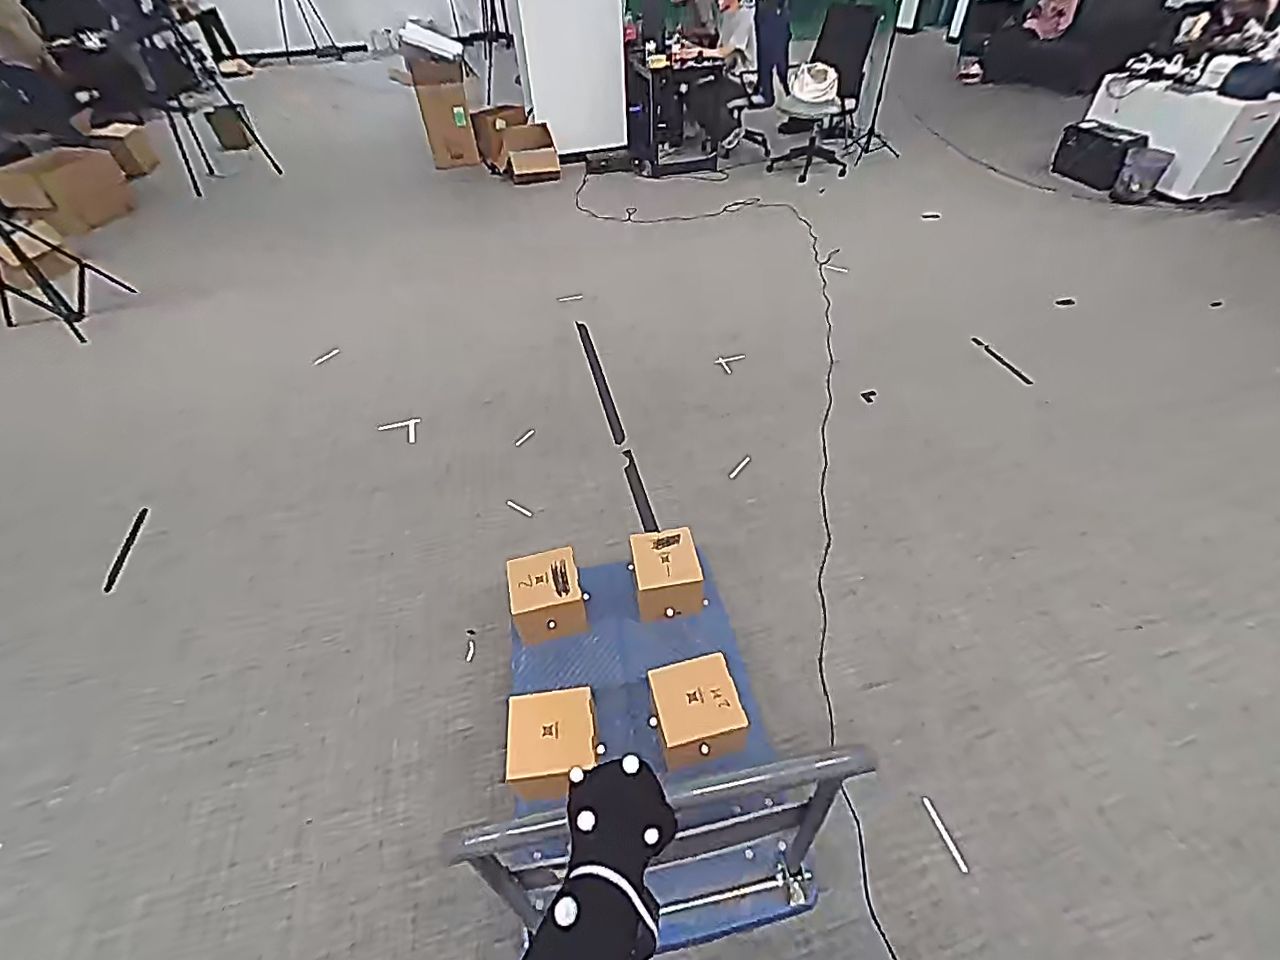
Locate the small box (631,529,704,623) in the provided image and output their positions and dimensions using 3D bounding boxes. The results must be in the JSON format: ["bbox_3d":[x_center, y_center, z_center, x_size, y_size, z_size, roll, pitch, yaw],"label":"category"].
[{"bbox_3d":[0.069,0.259,1.455,0.168,0.176,0.179,-8,47,-5],"label":"small box"}]

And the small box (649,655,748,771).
[{"bbox_3d":[0.125,0.519,1.198,0.179,0.176,0.168,-12,46,-8],"label":"small box"}]

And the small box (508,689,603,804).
[{"bbox_3d":[-0.177,0.576,1.163,0.179,0.176,0.168,-6,45,-5],"label":"small box"}]
